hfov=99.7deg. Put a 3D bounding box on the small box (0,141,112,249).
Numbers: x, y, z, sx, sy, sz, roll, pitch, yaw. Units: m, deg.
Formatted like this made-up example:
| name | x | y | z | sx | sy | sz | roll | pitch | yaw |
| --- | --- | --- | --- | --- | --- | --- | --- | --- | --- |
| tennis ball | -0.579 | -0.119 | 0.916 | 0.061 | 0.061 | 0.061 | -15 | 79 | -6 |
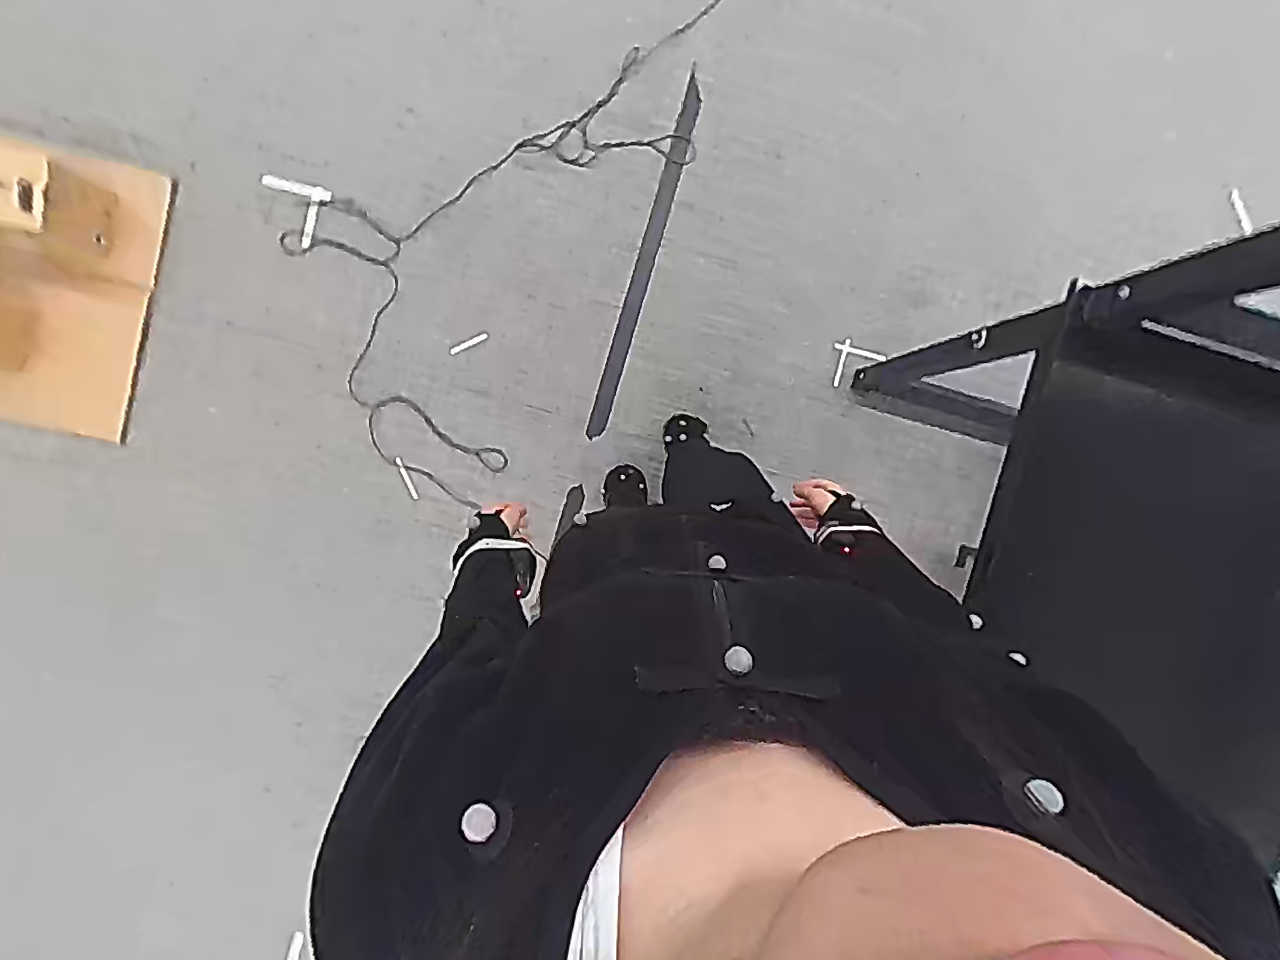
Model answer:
| name | x | y | z | sx | sy | sz | roll | pitch | yaw |
| --- | --- | --- | --- | --- | --- | --- | --- | --- | --- |
| small box | -1.398 | -0.660 | 1.260 | 0.179 | 0.176 | 0.168 | 10 | 92 | -4 |
